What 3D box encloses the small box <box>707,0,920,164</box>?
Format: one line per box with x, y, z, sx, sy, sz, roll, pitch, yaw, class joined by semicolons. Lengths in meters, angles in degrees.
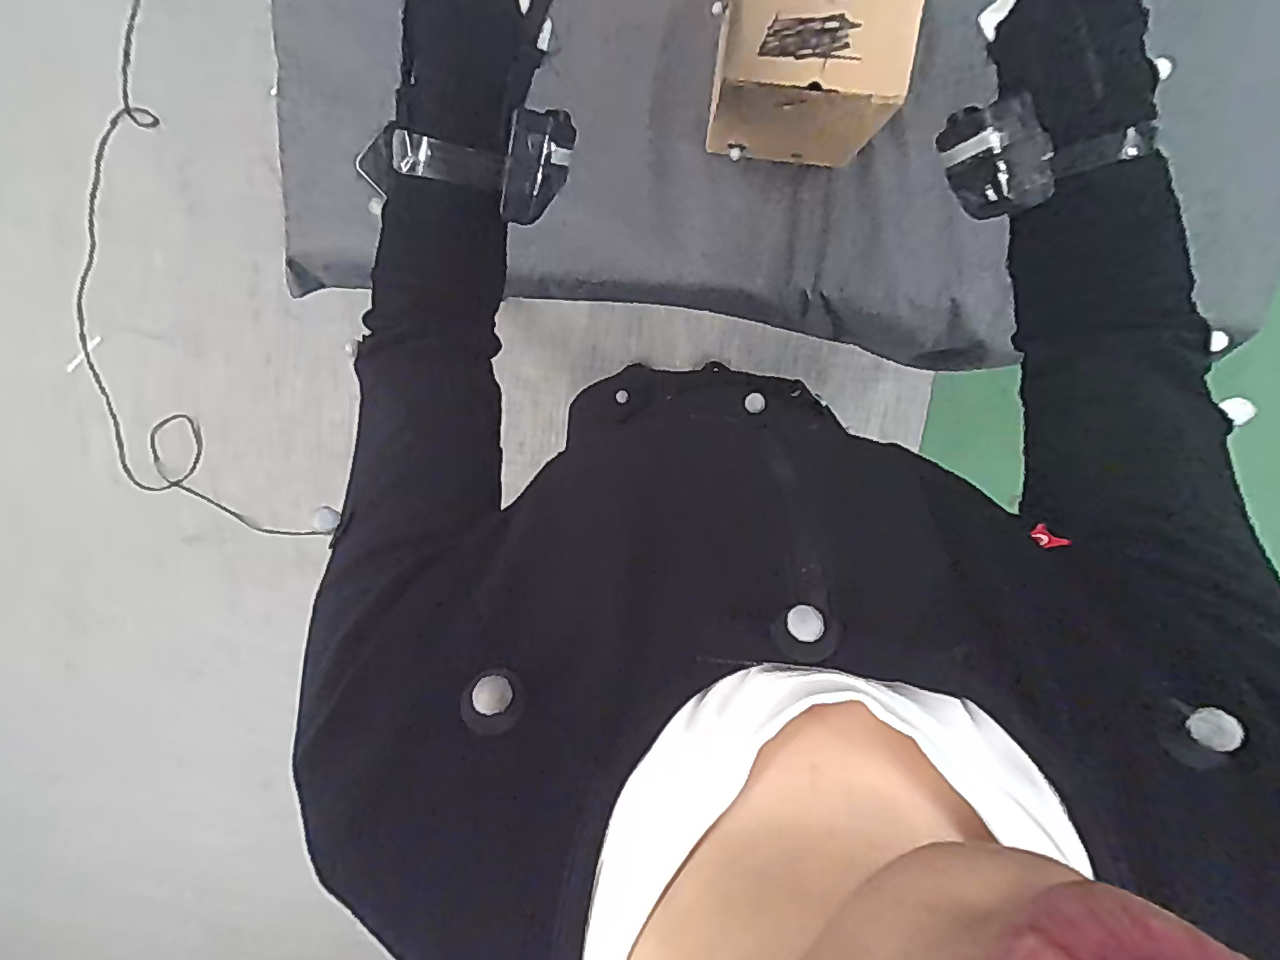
0.164;-0.445;0.542;0.168;0.176;0.179;7;101;0;small box
